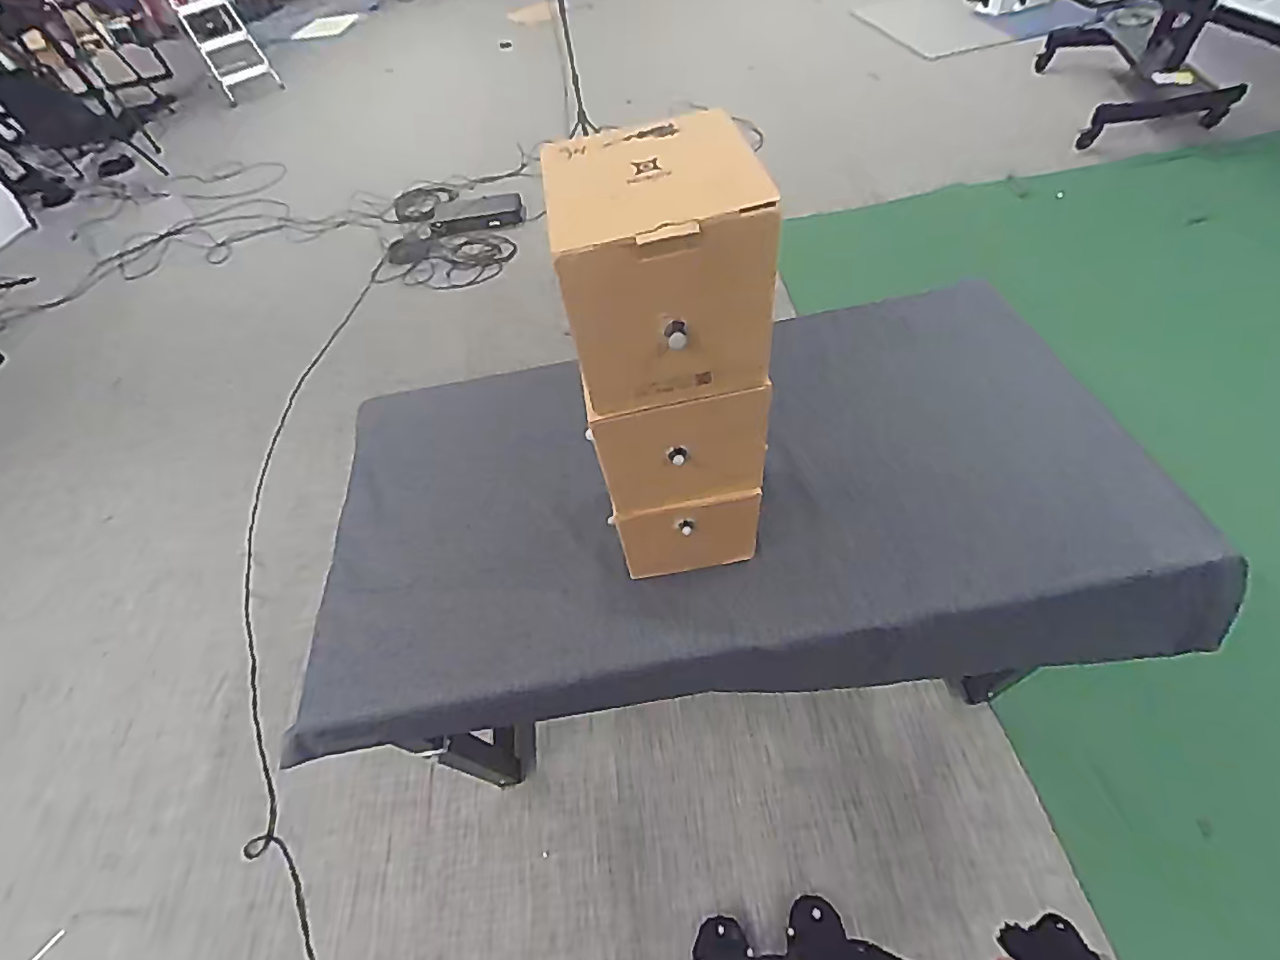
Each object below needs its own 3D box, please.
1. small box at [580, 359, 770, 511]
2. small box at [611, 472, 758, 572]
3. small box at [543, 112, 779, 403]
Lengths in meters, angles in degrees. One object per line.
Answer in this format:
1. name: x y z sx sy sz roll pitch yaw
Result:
1. small box: 0.034 -0.085 0.612 0.179 0.176 0.168 -12 54 1
2. small box: 0.053 0.012 0.743 0.179 0.176 0.168 -9 55 0
3. small box: 0.017 -0.186 0.485 0.168 0.176 0.179 -11 55 1
